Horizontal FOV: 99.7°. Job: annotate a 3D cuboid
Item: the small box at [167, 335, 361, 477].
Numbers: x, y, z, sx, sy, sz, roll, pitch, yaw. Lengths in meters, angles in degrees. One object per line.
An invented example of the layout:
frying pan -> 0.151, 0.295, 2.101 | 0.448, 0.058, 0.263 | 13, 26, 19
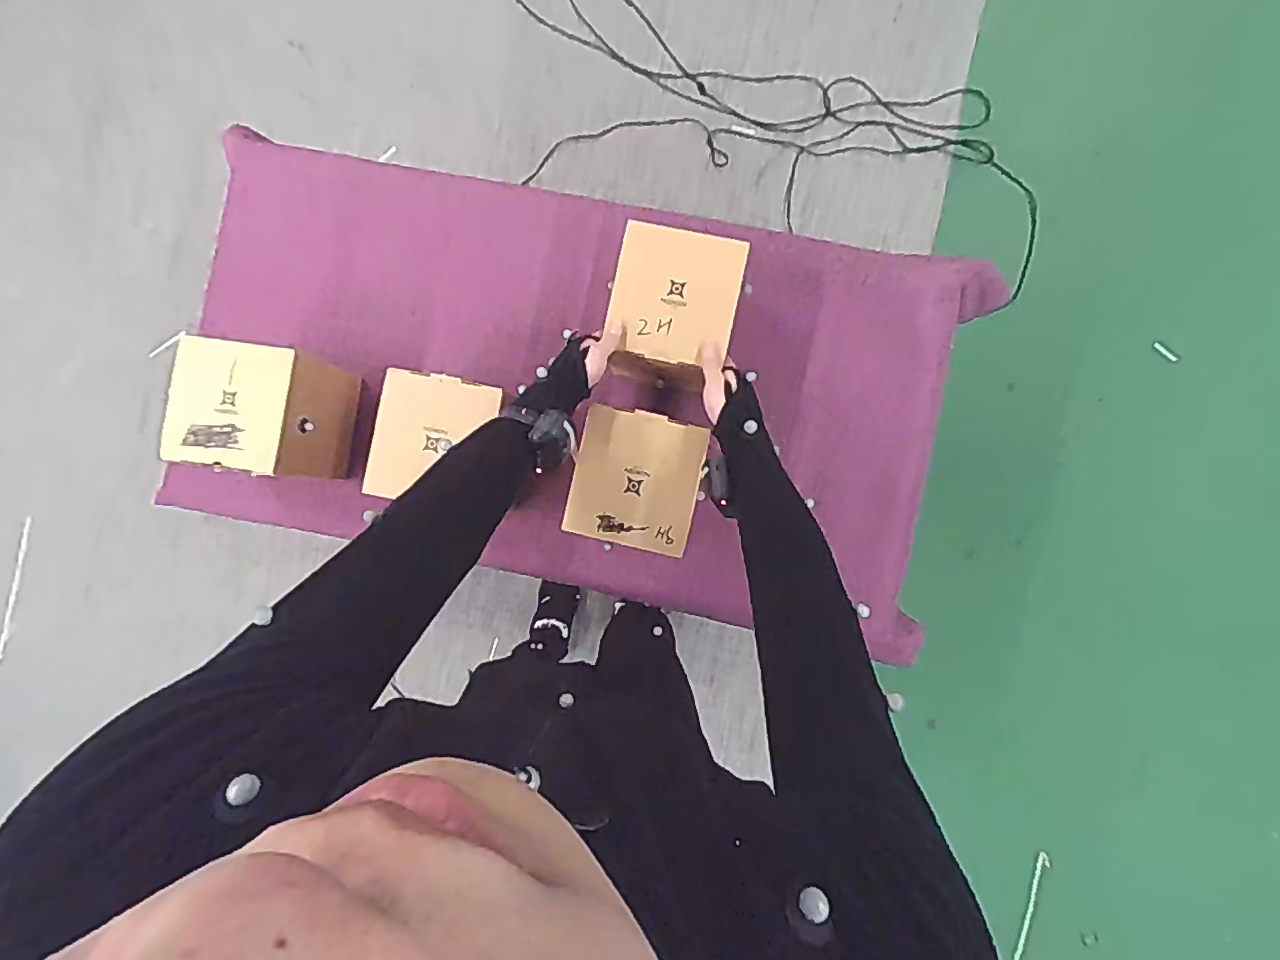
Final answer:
small box -> -0.558, -0.102, 0.826 | 0.168, 0.176, 0.179 | 9, 87, 3

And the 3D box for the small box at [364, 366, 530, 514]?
small box -> -0.275, -0.054, 0.811 | 0.168, 0.176, 0.179 | 11, 91, 5

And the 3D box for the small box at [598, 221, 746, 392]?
small box -> 0.047, -0.241, 0.792 | 0.168, 0.176, 0.179 | 13, 90, 4
